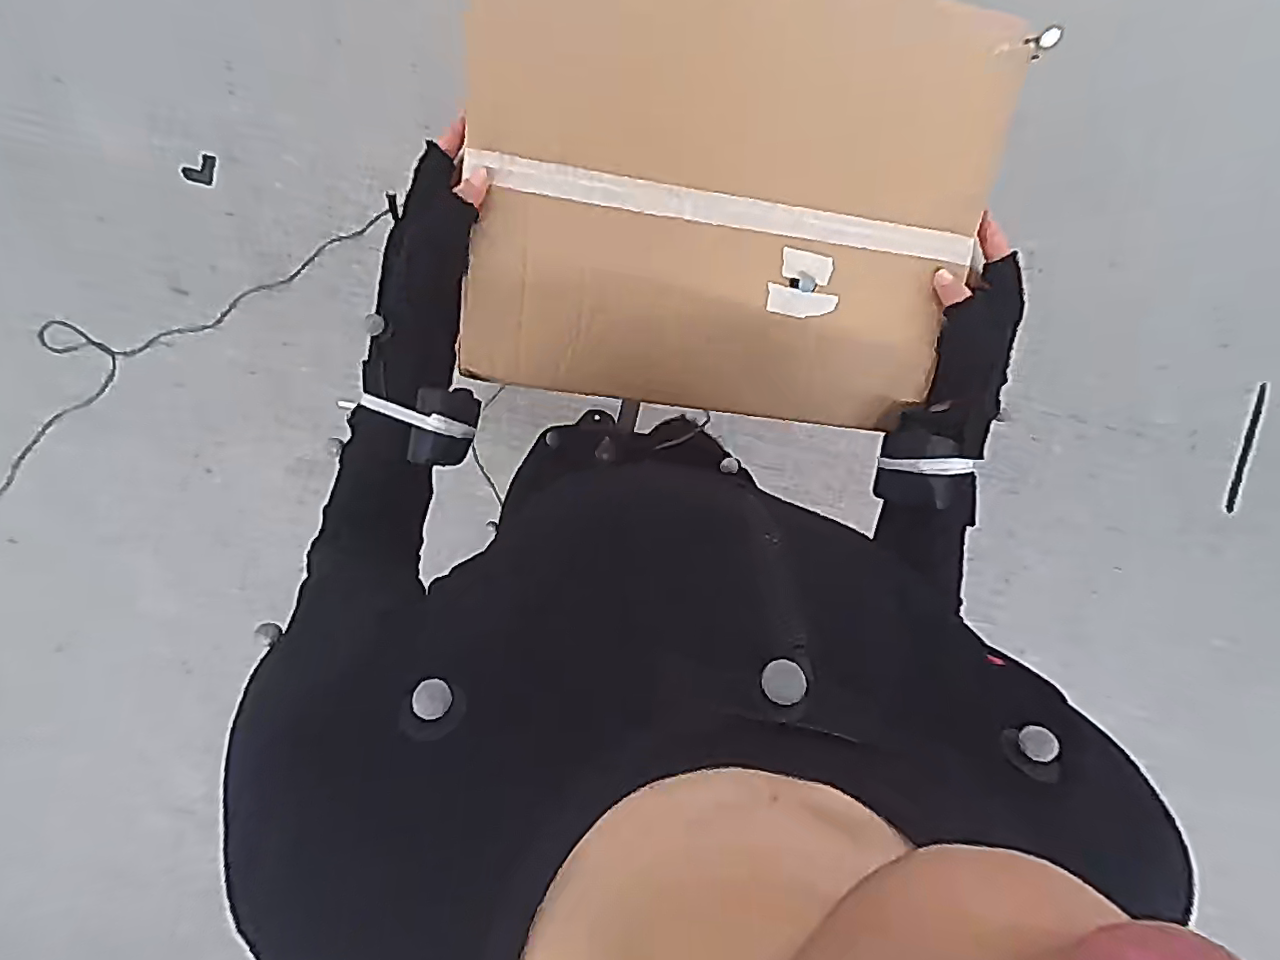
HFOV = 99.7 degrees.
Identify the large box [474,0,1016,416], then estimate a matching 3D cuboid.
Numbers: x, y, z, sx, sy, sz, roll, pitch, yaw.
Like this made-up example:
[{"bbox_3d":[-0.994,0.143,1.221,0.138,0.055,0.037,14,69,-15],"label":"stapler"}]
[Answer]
[{"bbox_3d":[0.057,-0.270,0.572,0.408,0.320,0.320,6,110,-8],"label":"large box"}]
